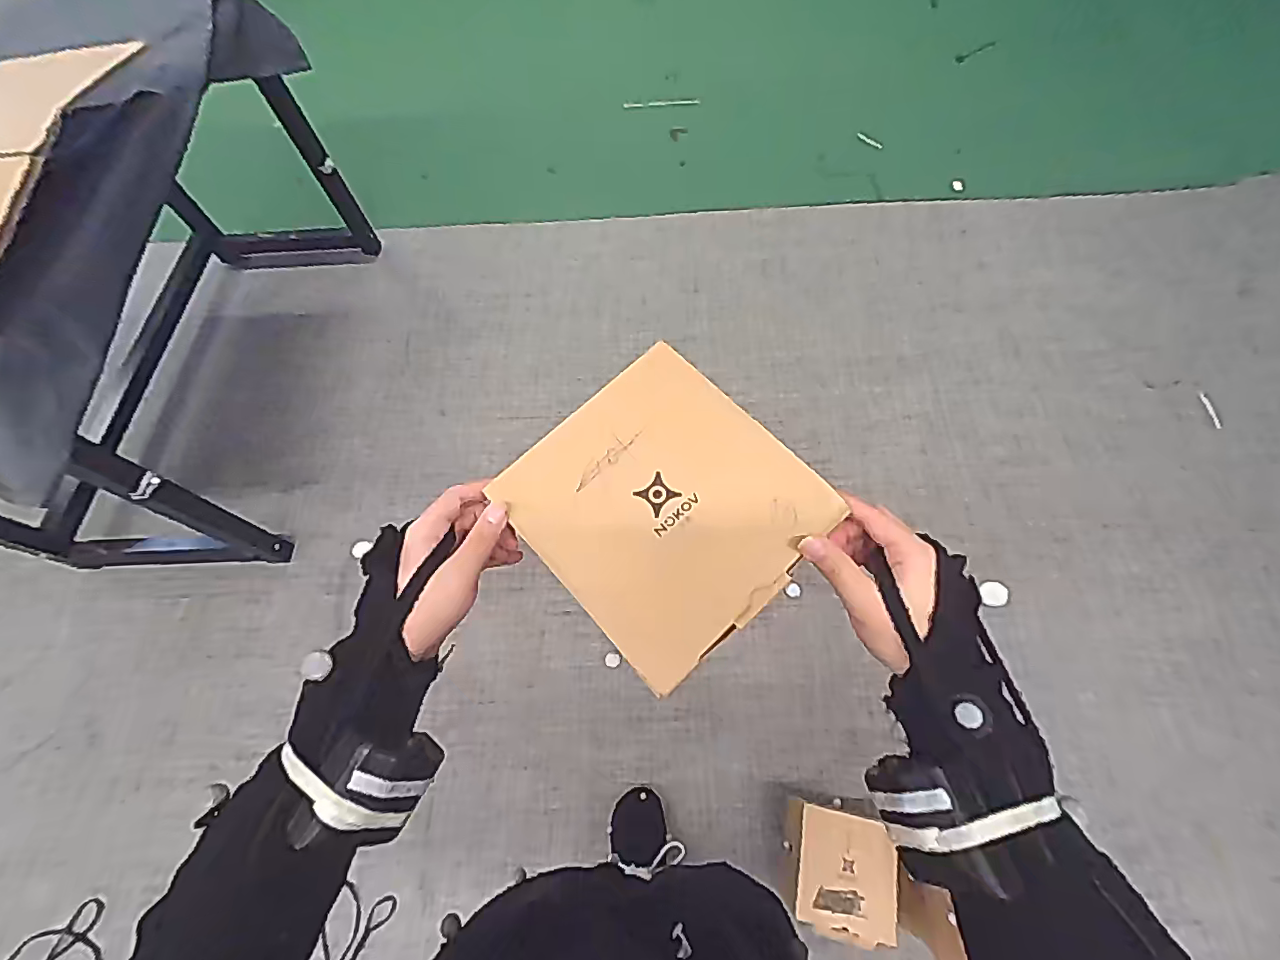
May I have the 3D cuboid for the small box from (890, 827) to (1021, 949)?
[{"bbox_3d":[0.570,0.740,0.974,0.168,0.176,0.179,2,63,4],"label":"small box"}]

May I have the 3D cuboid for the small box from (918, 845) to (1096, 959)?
[{"bbox_3d":[0.549,0.680,0.823,0.168,0.176,0.179,2,64,5],"label":"small box"}]
